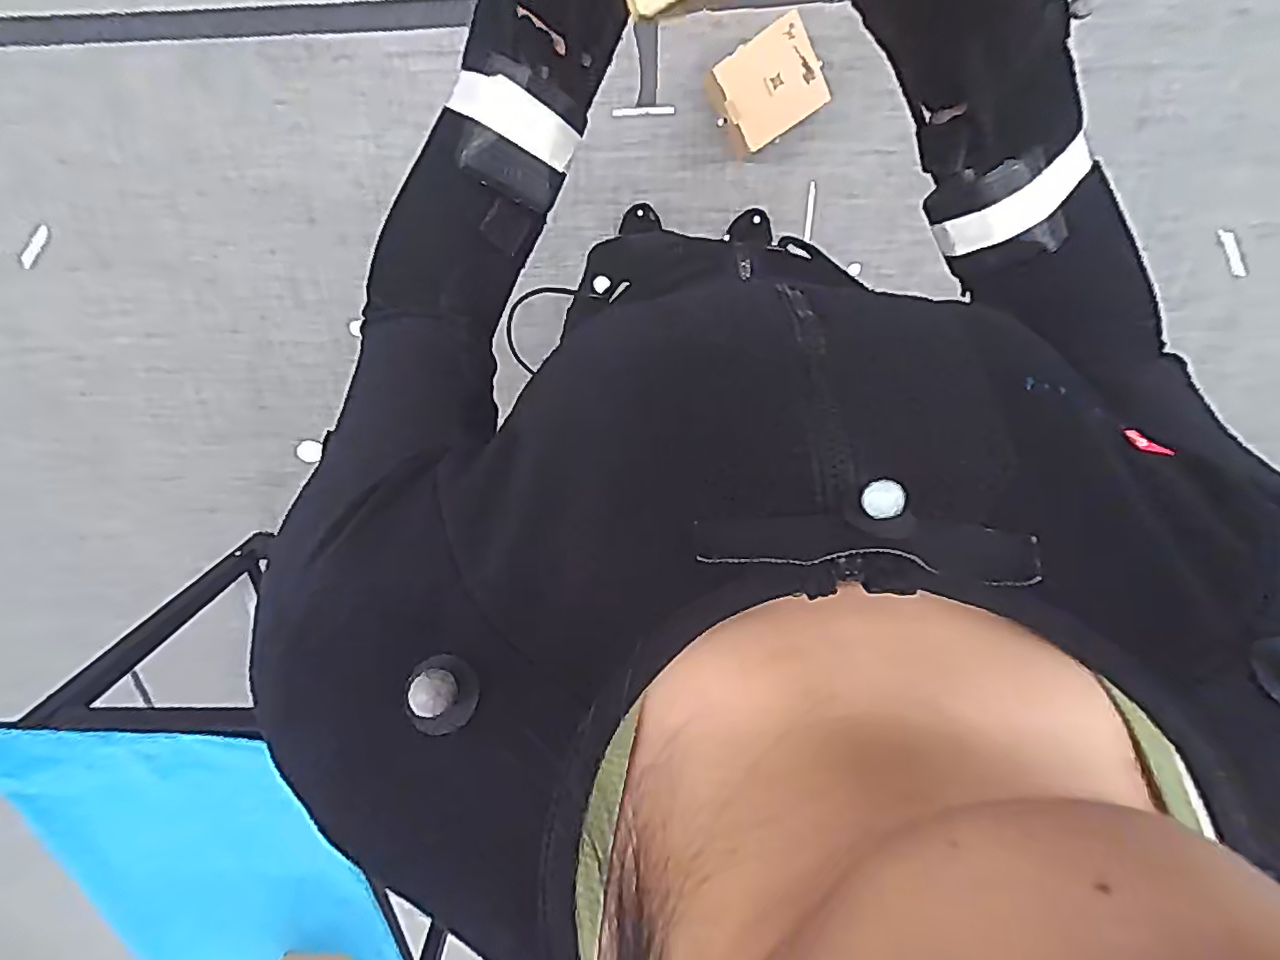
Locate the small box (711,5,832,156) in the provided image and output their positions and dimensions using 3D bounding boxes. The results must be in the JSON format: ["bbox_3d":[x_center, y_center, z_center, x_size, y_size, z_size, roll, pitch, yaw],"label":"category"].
[{"bbox_3d":[0.256,-0.791,1.098,0.179,0.176,0.168,-31,111,15],"label":"small box"}]

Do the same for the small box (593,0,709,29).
[{"bbox_3d":[0.049,-0.266,0.144,0.179,0.176,0.168,-13,127,29],"label":"small box"}]
